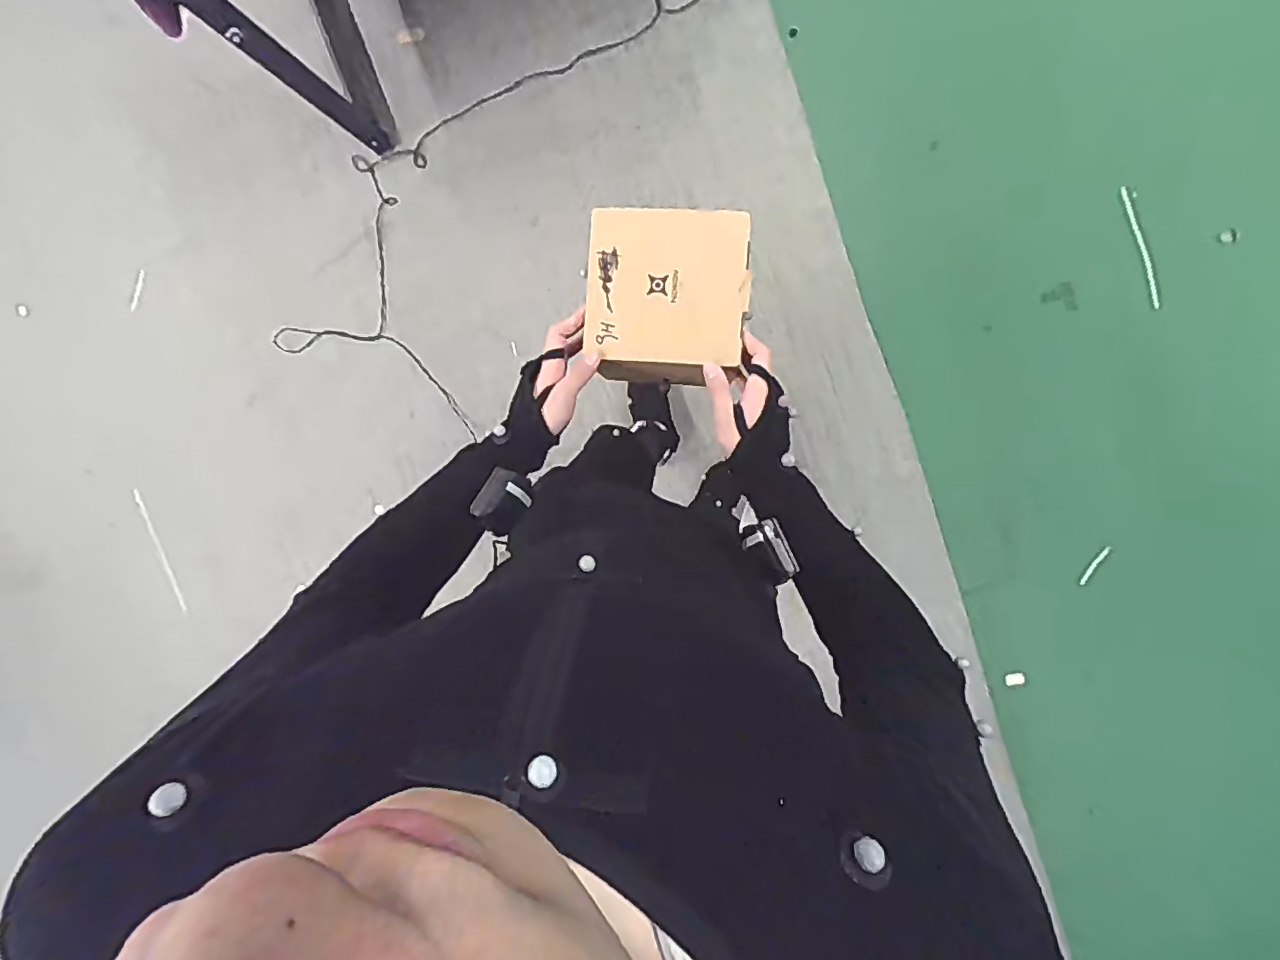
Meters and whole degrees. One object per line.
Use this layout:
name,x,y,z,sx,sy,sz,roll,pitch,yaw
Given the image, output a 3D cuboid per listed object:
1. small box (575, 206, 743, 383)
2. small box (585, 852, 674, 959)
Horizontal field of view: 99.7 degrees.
small box,0.026,-0.218,0.673,0.179,0.176,0.168,5,92,6
small box,-0.018,1.006,1.258,0.168,0.176,0.179,-6,95,12
